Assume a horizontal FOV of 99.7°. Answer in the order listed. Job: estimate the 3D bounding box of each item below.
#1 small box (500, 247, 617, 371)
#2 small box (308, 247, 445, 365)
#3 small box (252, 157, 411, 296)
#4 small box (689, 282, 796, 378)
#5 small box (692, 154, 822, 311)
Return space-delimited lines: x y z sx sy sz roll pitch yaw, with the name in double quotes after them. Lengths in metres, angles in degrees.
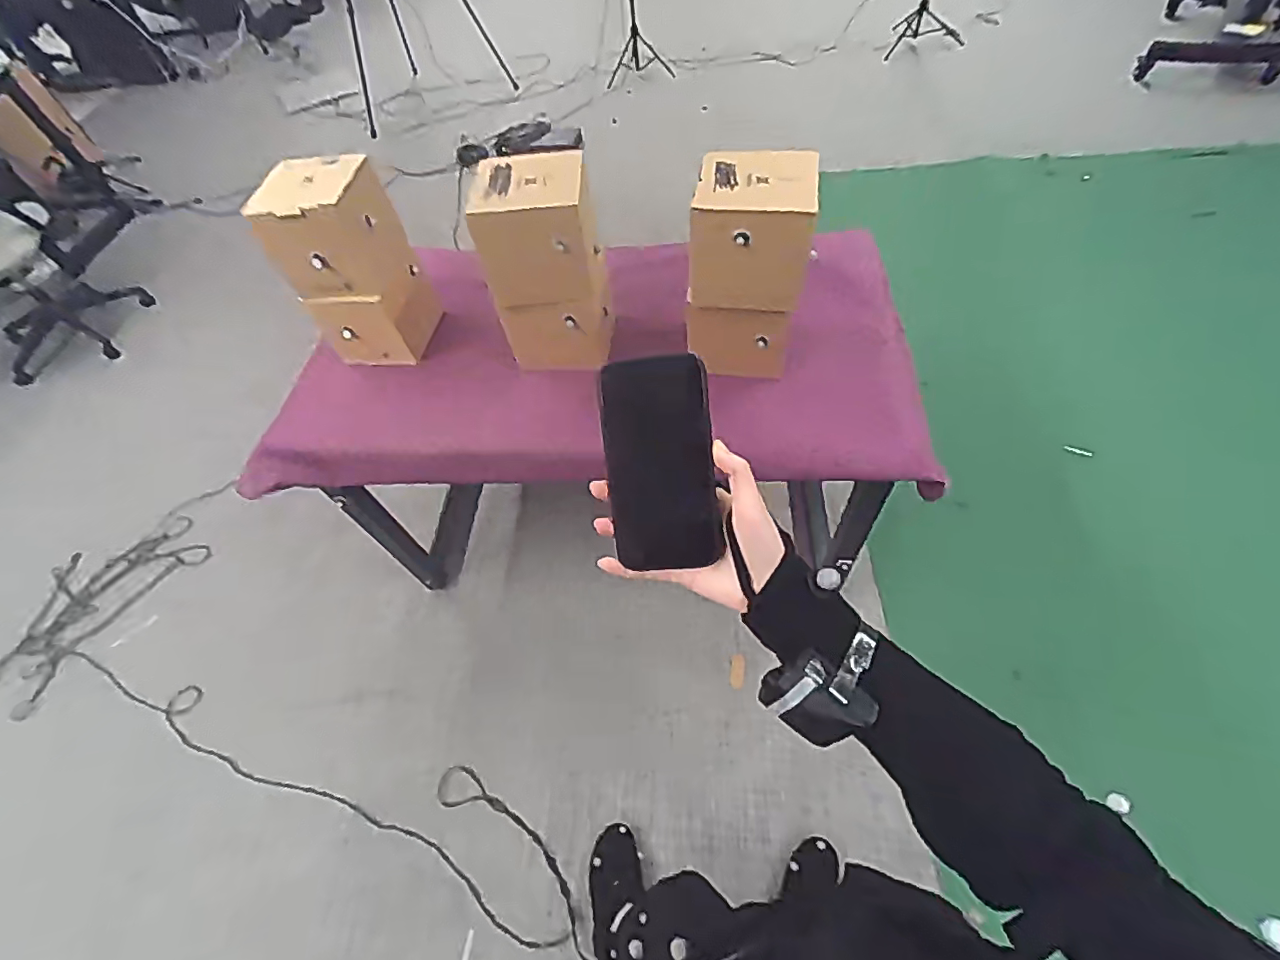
-0.145 -0.327 1.048 0.179 0.176 0.168 1 56 8 "small box"
-0.529 -0.353 1.117 0.168 0.176 0.179 2 56 9 "small box"
-0.545 -0.453 0.987 0.168 0.176 0.179 -2 56 5 "small box"
0.191 -0.305 0.993 0.179 0.176 0.168 6 57 12 "small box"
0.181 -0.385 0.850 0.179 0.176 0.168 7 57 11 "small box"
